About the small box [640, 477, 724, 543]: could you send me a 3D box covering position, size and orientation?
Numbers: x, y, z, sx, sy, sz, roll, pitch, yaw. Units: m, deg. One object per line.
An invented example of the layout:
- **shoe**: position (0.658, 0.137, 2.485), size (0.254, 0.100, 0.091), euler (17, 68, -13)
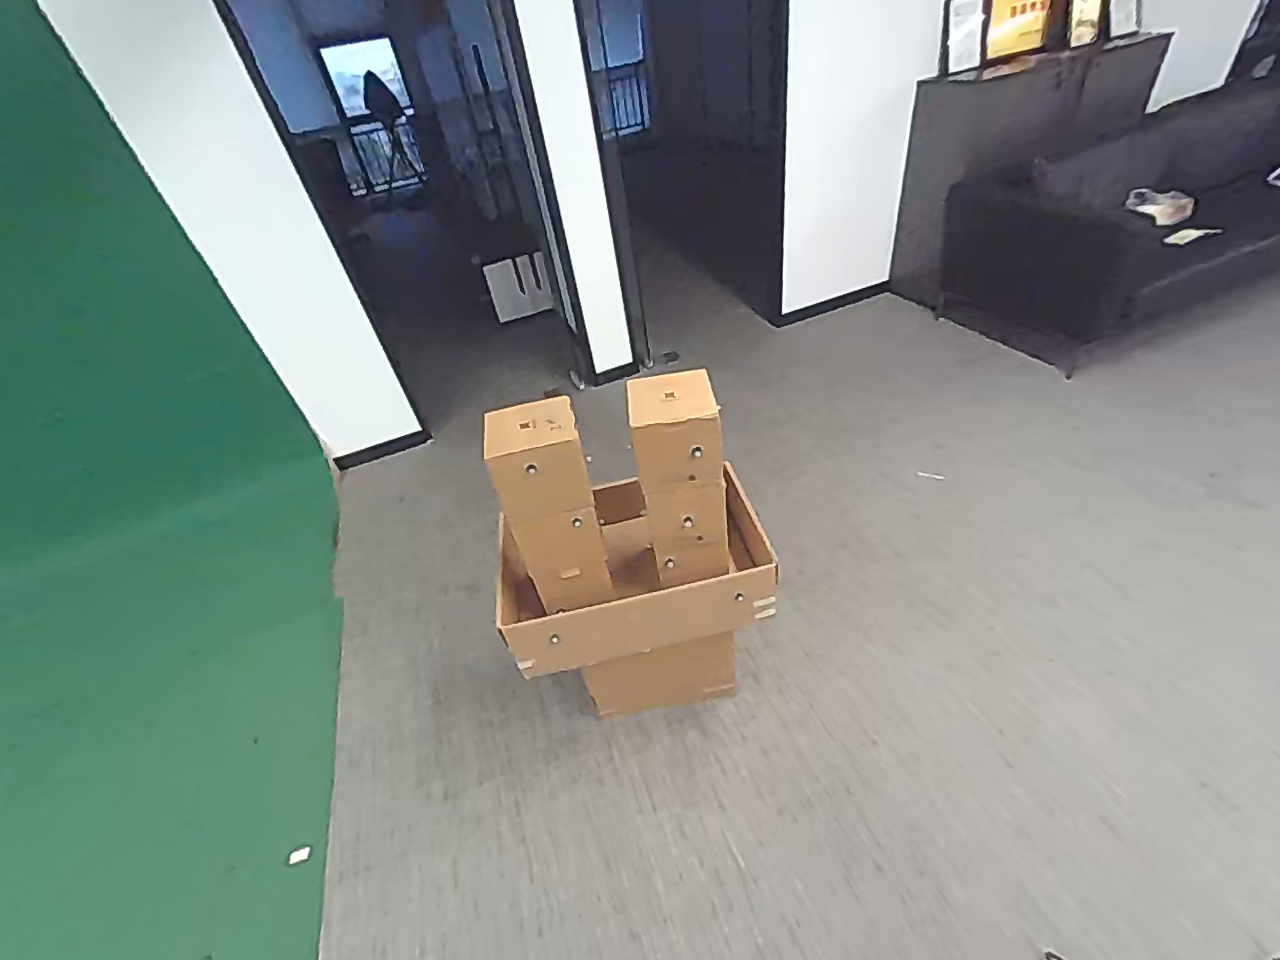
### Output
- **small box**: position (0.089, 0.025, 1.196), size (0.168, 0.176, 0.179), euler (-8, 40, 2)

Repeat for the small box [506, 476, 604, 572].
- **small box**: position (-0.187, 0.081, 1.192), size (0.179, 0.176, 0.168), euler (-12, 40, -5)

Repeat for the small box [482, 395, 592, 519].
- **small box**: position (-0.205, -0.043, 1.084), size (0.179, 0.176, 0.168), euler (-12, 40, -5)

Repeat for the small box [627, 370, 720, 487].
- **small box**: position (0.067, -0.099, 1.092), size (0.168, 0.176, 0.179), euler (-7, 39, 3)
